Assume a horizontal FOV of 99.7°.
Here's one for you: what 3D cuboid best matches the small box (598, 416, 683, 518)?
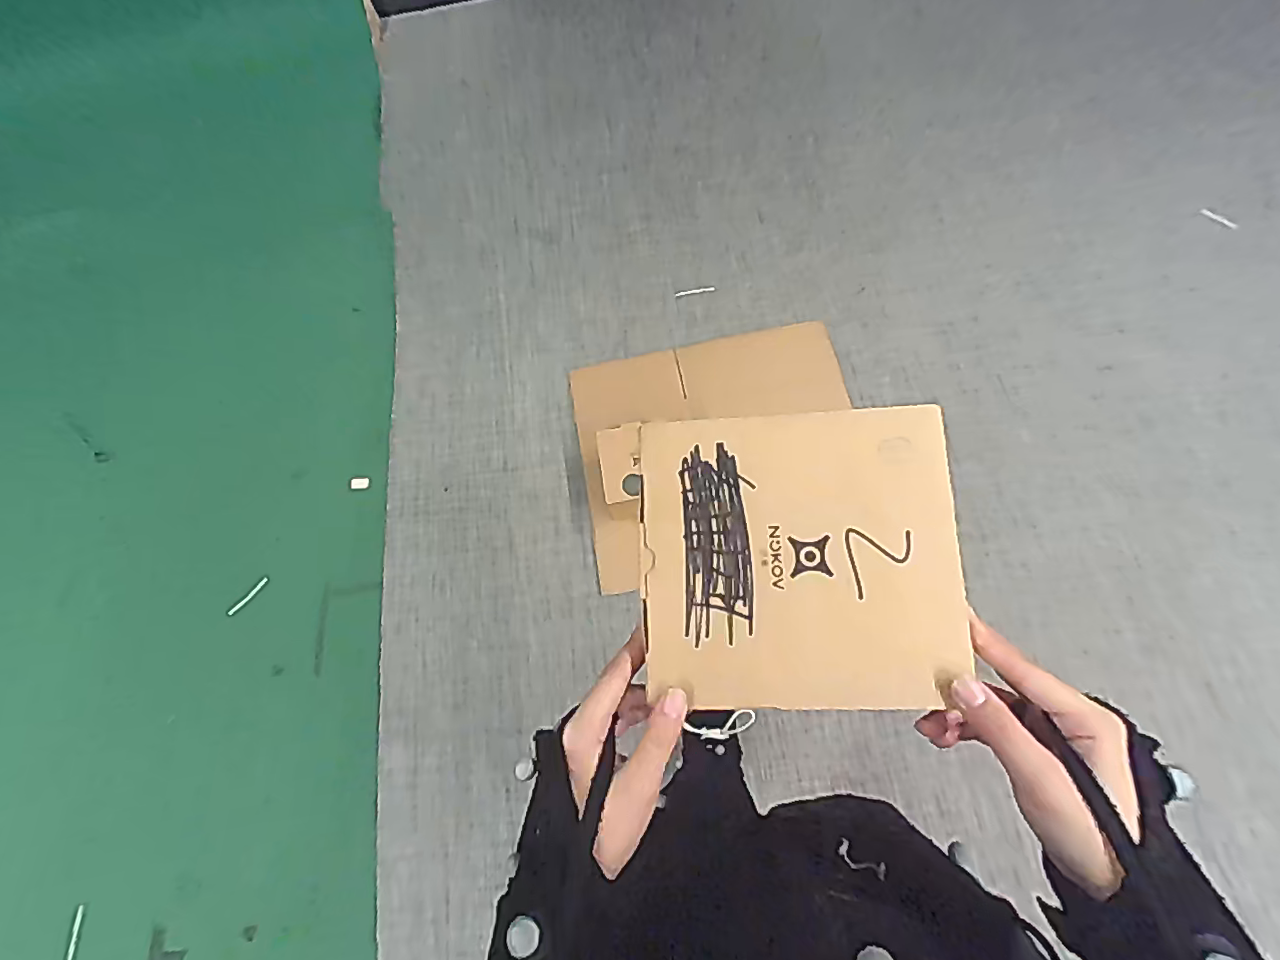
[{"bbox_3d":[0.004,-0.025,1.254,0.168,0.176,0.179,-11,72,2],"label":"small box"}]
